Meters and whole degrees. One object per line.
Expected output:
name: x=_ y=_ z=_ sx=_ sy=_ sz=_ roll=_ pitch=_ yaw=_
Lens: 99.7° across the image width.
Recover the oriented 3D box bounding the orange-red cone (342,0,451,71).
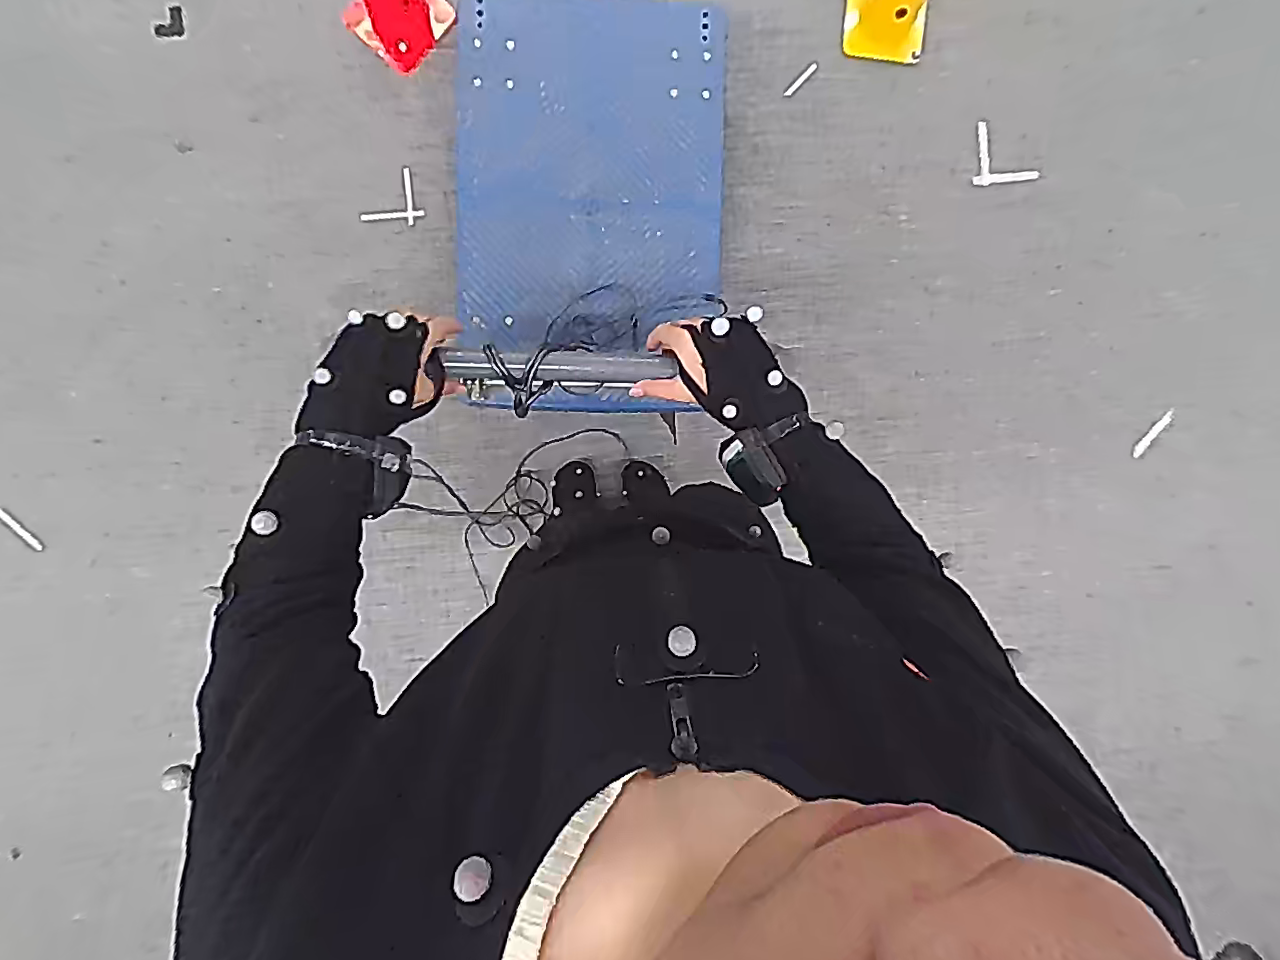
orange-red cone: x=-0.565 y=-1.096 z=1.115 sx=0.198 sy=0.360 sz=0.199 roll=41 pitch=89 yaw=-5
